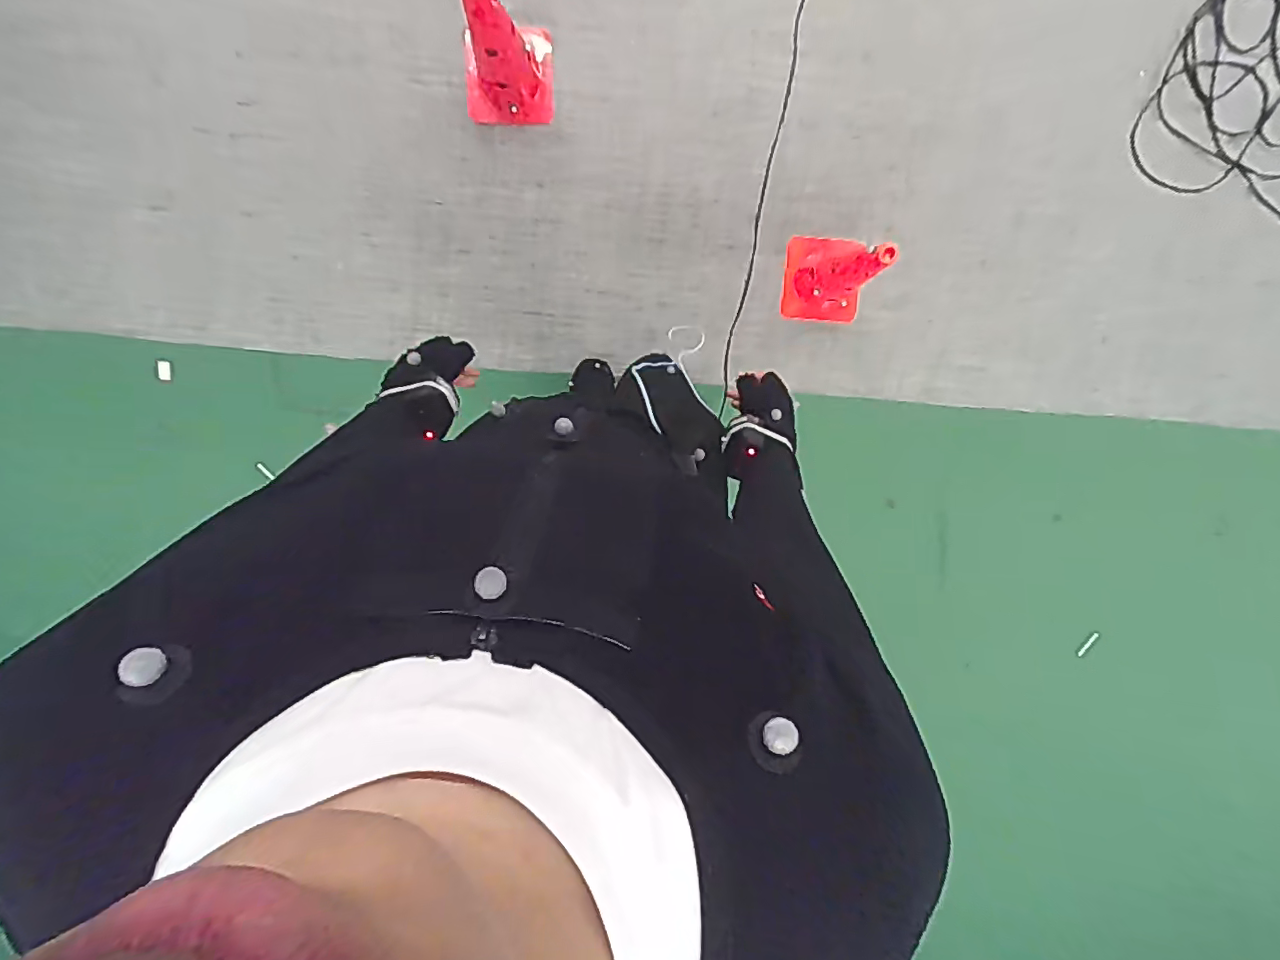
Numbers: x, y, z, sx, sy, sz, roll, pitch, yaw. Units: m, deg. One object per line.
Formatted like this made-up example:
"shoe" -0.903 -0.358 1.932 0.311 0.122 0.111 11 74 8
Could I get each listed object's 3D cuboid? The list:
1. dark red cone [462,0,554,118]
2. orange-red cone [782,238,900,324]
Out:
"dark red cone" -0.295 -0.903 1.078 0.202 0.394 0.201 -1 104 -2
"orange-red cone" 0.476 -0.475 1.218 0.198 0.360 0.199 4 101 -4
